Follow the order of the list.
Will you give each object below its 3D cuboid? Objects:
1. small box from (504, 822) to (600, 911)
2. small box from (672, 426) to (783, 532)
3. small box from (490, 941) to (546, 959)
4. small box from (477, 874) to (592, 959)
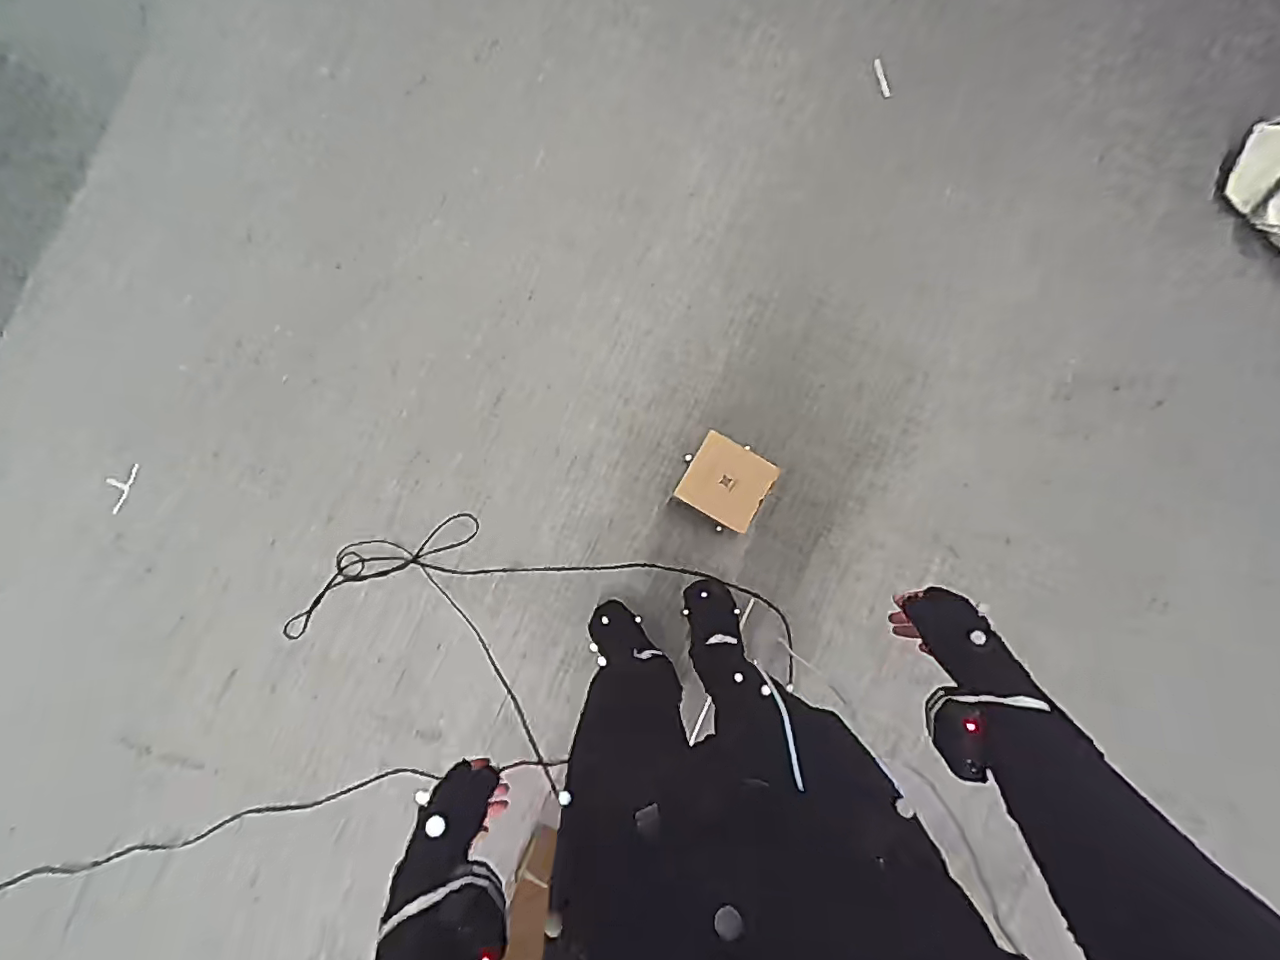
[{"bbox_3d":[-0.197,0.908,1.193,0.168,0.176,0.179,26,89,3],"label":"small box"},{"bbox_3d":[0.187,-0.001,1.210,0.179,0.176,0.168,30,88,2],"label":"small box"},{"bbox_3d":[-0.203,0.906,0.866,0.179,0.176,0.168,27,89,3],"label":"small box"},{"bbox_3d":[-0.206,0.908,1.029,0.179,0.176,0.168,27,89,3],"label":"small box"}]
